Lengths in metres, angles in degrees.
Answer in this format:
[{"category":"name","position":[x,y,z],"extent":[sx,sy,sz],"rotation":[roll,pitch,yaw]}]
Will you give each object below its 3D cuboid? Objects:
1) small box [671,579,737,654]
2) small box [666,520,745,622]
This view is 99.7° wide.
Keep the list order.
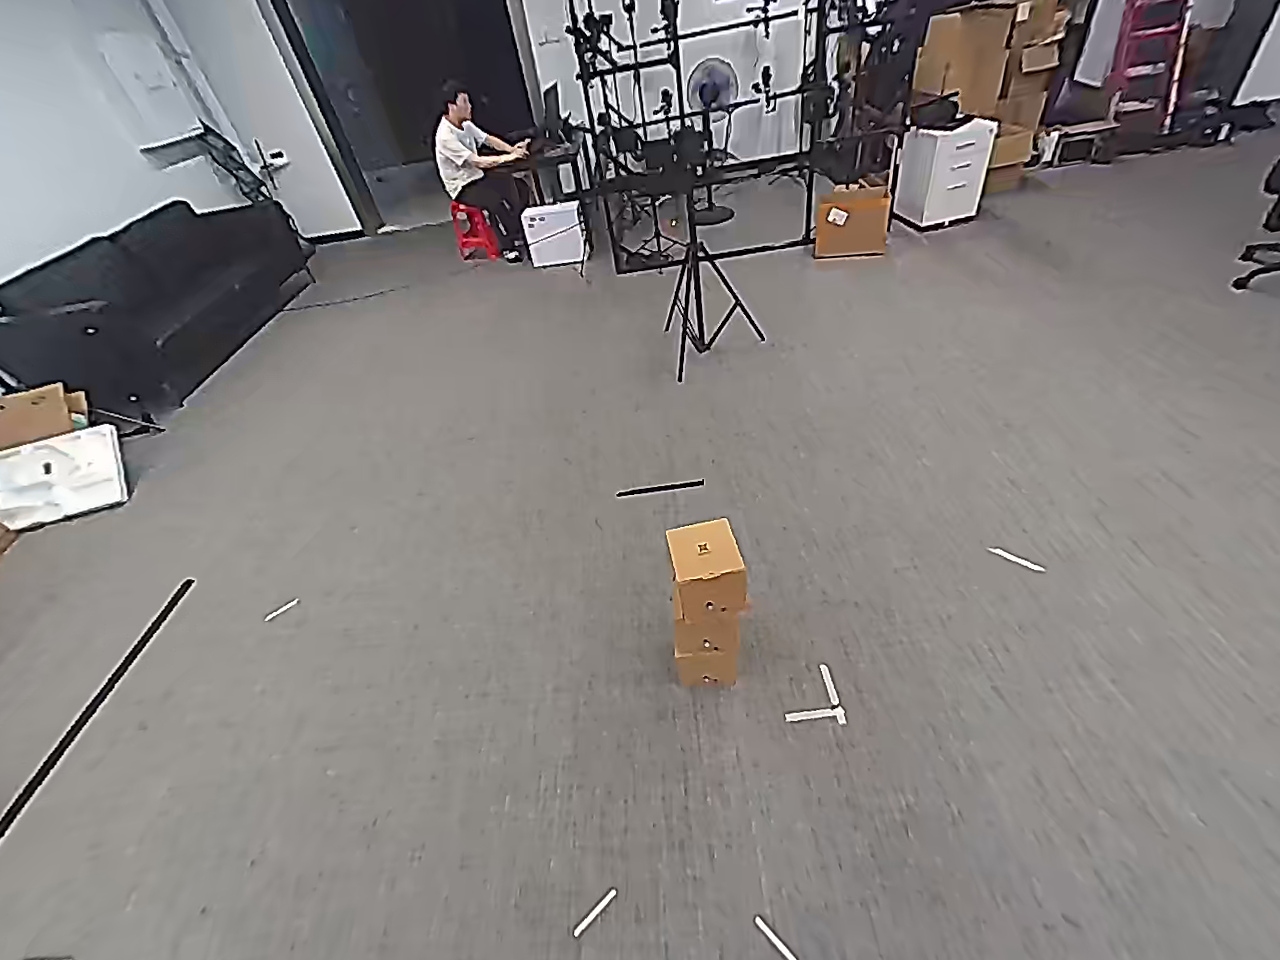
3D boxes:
[{"category":"small box","position":[0.177,0.356,1.489],"extent":[0.168,0.176,0.179],"rotation":[-5,42,9]},{"category":"small box","position":[0.166,0.233,1.382],"extent":[0.168,0.176,0.179],"rotation":[-12,41,-1]}]
